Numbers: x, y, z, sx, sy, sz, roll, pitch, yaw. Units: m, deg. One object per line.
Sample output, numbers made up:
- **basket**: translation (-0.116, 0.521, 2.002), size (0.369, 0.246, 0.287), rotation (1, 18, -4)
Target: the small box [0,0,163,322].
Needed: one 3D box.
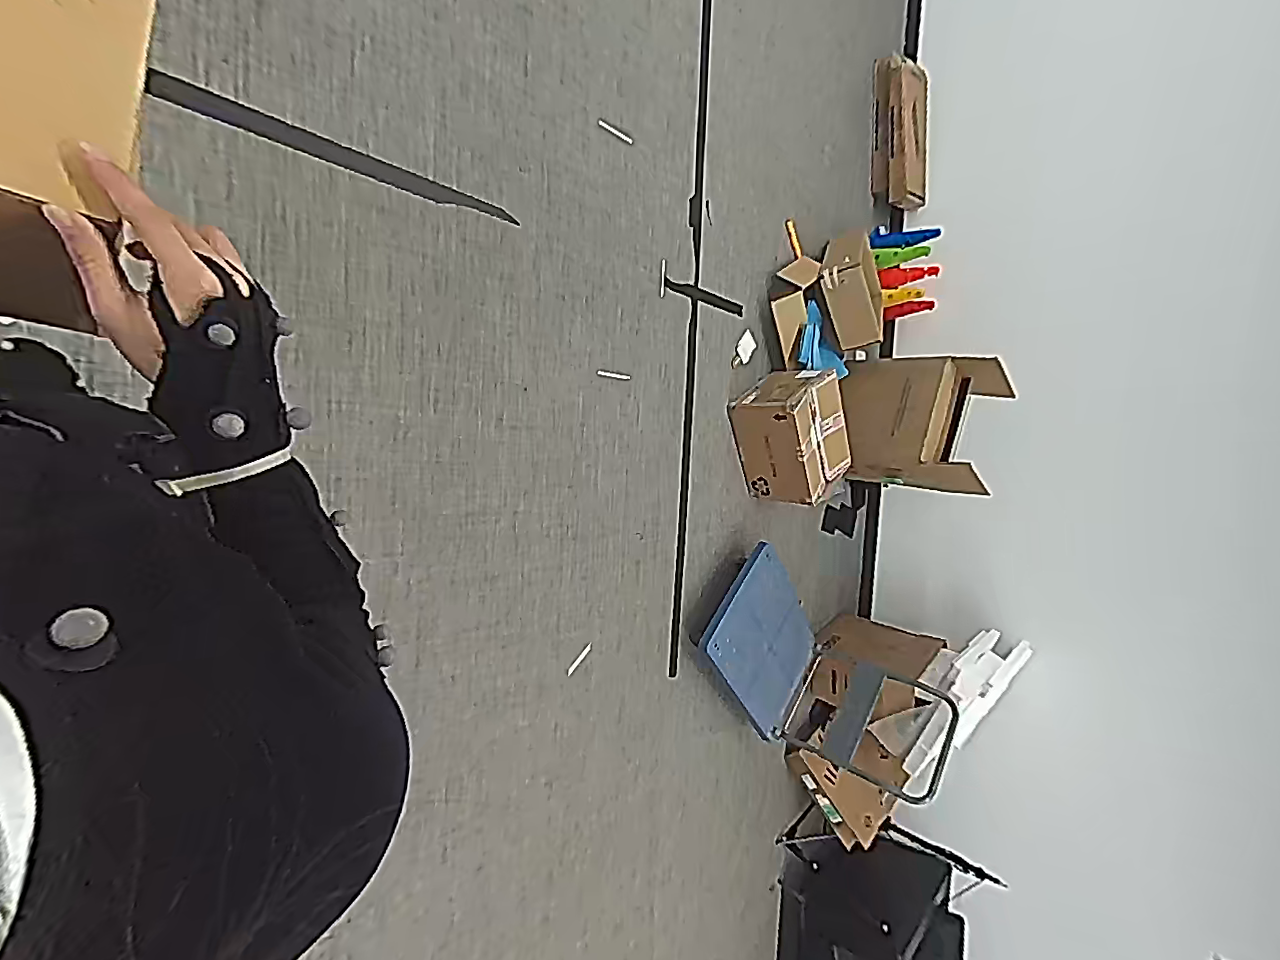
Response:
- **small box**: translation (-0.406, -0.211, 0.311), size (0.179, 0.176, 0.168), rotation (8, 74, -44)
